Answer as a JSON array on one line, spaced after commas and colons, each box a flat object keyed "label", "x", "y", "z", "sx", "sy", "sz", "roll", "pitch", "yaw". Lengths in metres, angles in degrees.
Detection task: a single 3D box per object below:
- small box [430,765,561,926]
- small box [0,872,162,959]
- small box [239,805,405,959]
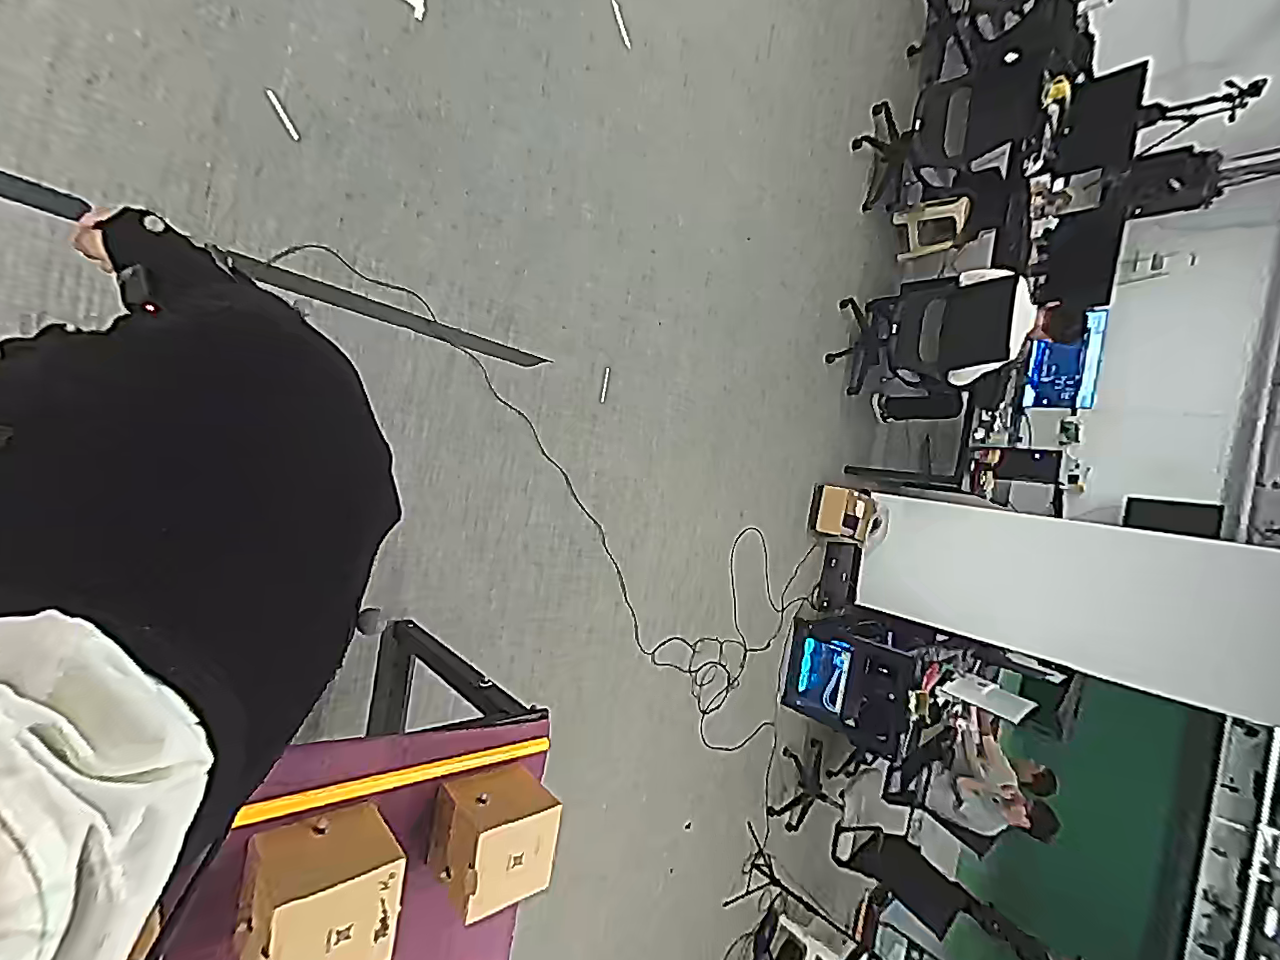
[{"label": "small box", "x": -0.278, "y": 0.676, "z": 1.026, "sx": 0.179, "sy": 0.176, "sz": 0.168, "roll": 9, "pitch": 91, "yaw": -42}, {"label": "small box", "x": -0.685, "y": 0.605, "z": 0.619, "sx": 0.179, "sy": 0.176, "sz": 0.168, "roll": 13, "pitch": 89, "yaw": -46}, {"label": "small box", "x": -0.486, "y": 0.636, "z": 0.820, "sx": 0.179, "sy": 0.176, "sz": 0.168, "roll": 8, "pitch": 91, "yaw": -44}]
